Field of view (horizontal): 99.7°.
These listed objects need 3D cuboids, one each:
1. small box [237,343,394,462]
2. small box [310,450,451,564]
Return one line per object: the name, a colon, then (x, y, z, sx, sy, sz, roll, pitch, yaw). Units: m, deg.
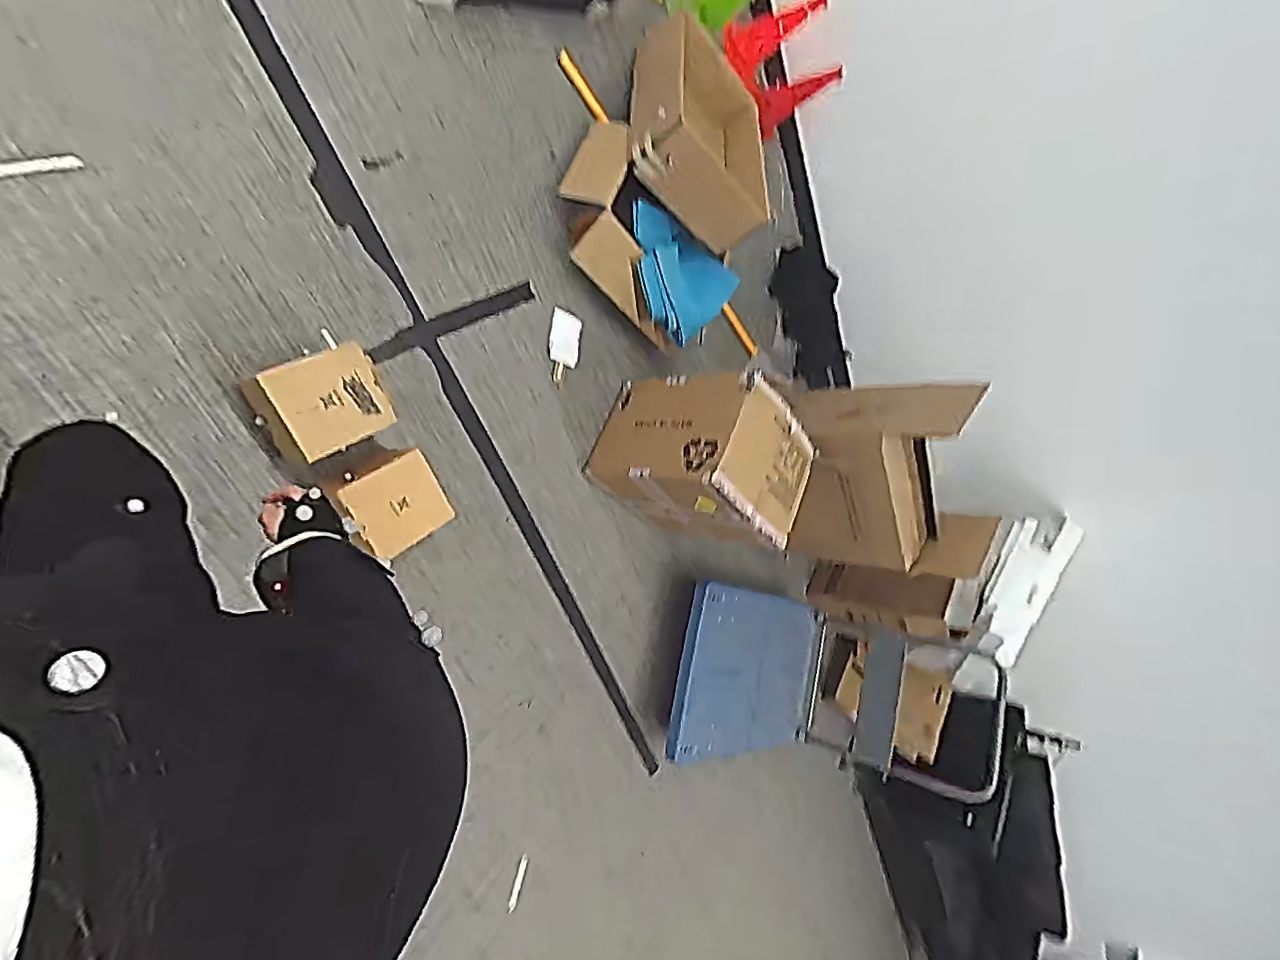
small box: (-0.607, -0.146, 1.014, 0.179, 0.176, 0.168, -37, 118, -38)
small box: (-0.532, 0.045, 1.109, 0.179, 0.176, 0.168, -40, 120, -37)
